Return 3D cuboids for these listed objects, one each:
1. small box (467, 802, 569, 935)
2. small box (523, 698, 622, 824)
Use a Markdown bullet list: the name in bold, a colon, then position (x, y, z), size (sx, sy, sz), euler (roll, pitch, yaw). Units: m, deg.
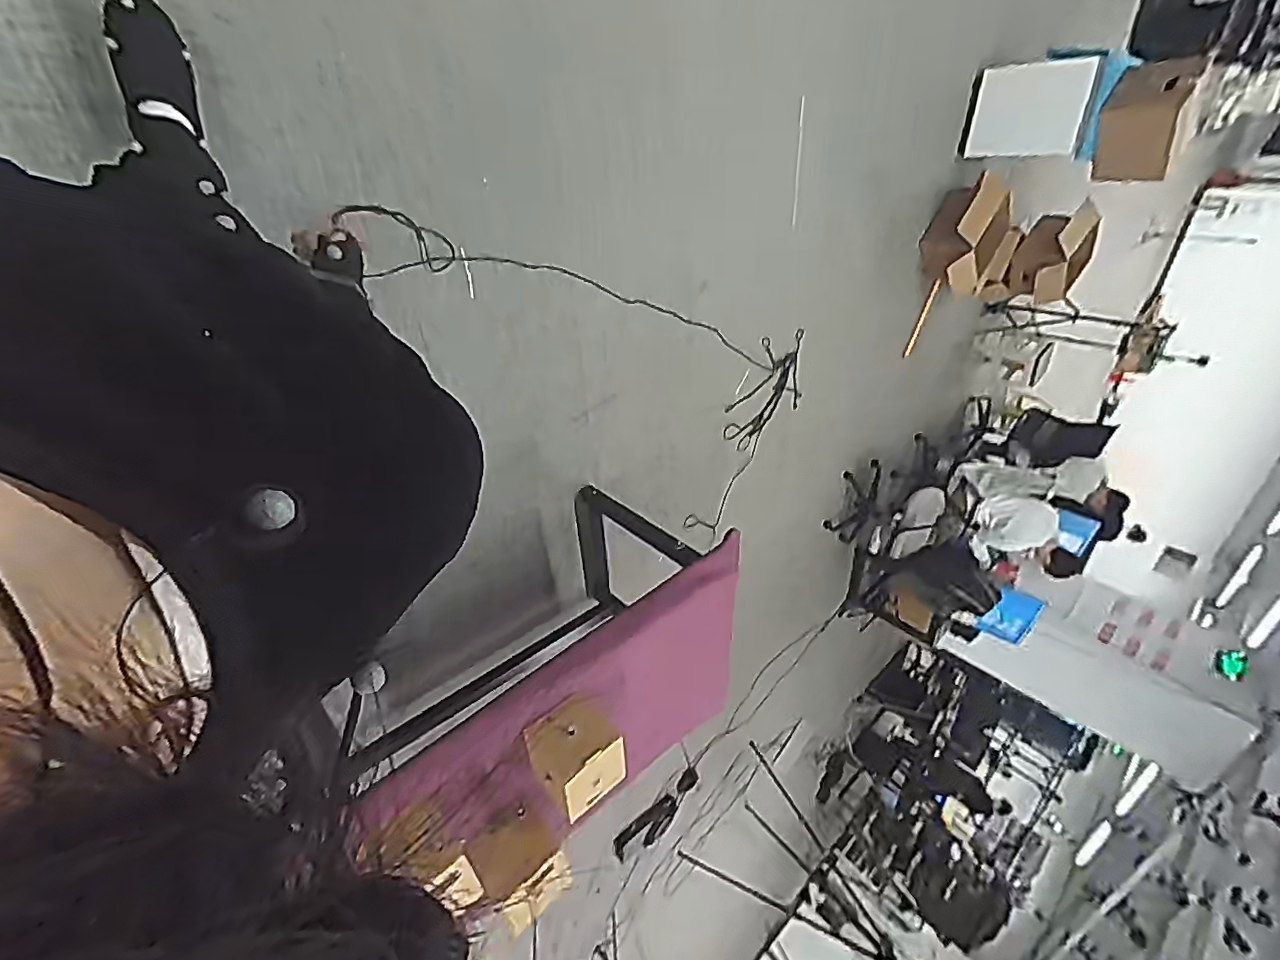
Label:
- **small box**: position (-0.294, 0.921, 1.298), size (0.168, 0.176, 0.179), euler (-28, 131, -32)
- **small box**: position (-0.160, 0.651, 1.280), size (0.168, 0.176, 0.179), euler (-26, 129, -33)
